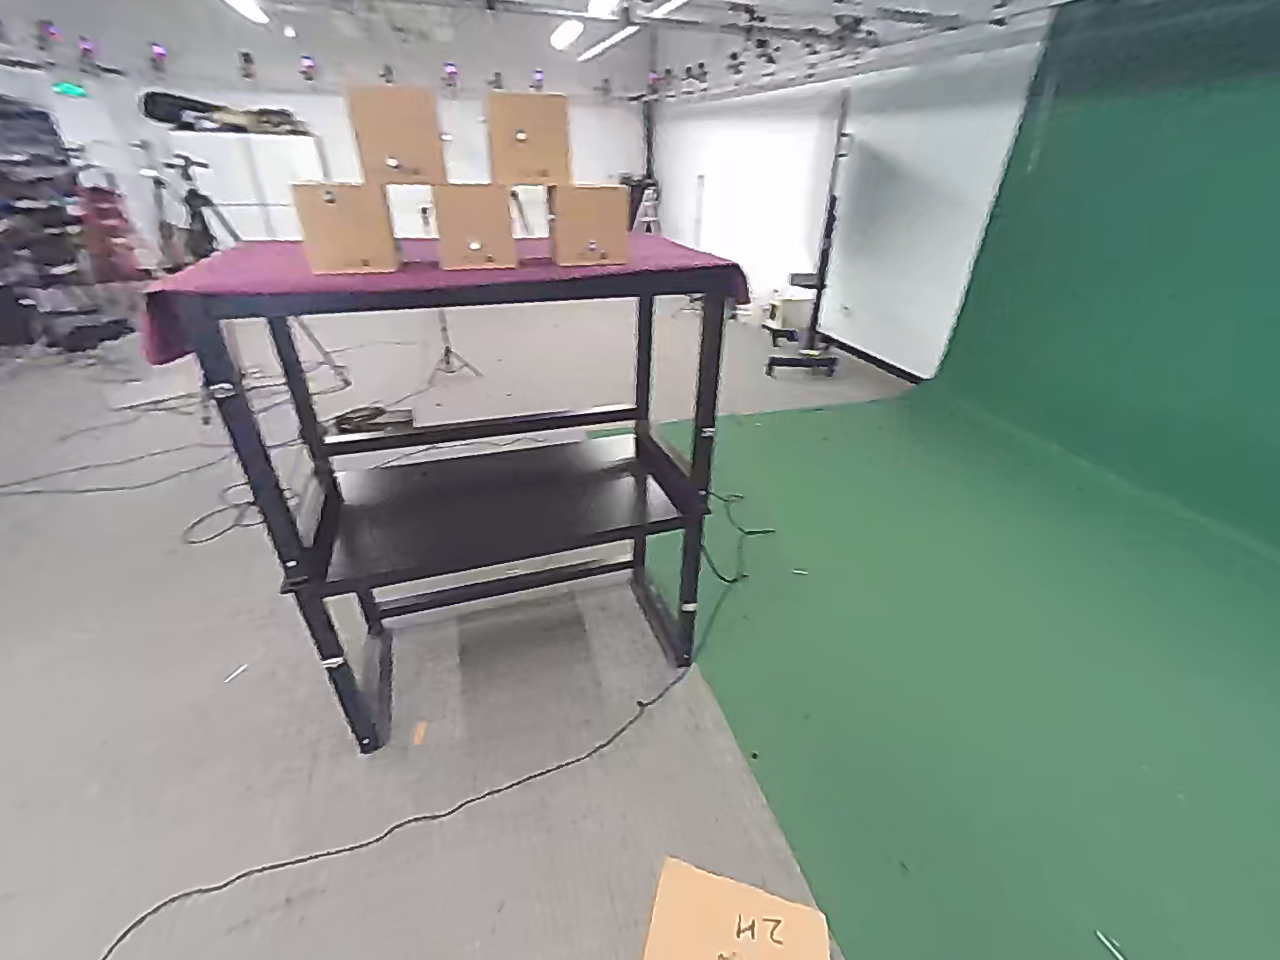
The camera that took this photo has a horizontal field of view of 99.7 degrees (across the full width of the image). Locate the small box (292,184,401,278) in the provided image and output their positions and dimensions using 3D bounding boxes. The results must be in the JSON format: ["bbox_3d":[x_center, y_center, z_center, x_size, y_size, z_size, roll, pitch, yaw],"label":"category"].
[{"bbox_3d":[-0.621,-0.536,1.165,0.168,0.176,0.179,-9,30,-17],"label":"small box"}]

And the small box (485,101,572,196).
[{"bbox_3d":[-0.247,-0.728,1.199,0.168,0.176,0.179,-7,30,-16],"label":"small box"}]

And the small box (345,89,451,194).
[{"bbox_3d":[-0.493,-0.698,1.129,0.168,0.176,0.179,-7,31,-15],"label":"small box"}]

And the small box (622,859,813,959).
[{"bbox_3d":[0.052,0.499,0.476,0.168,0.176,0.179,15,15,10],"label":"small box"}]

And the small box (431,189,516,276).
[{"bbox_3d":[-0.382,-0.570,1.241,0.168,0.176,0.179,-8,31,-16],"label":"small box"}]
